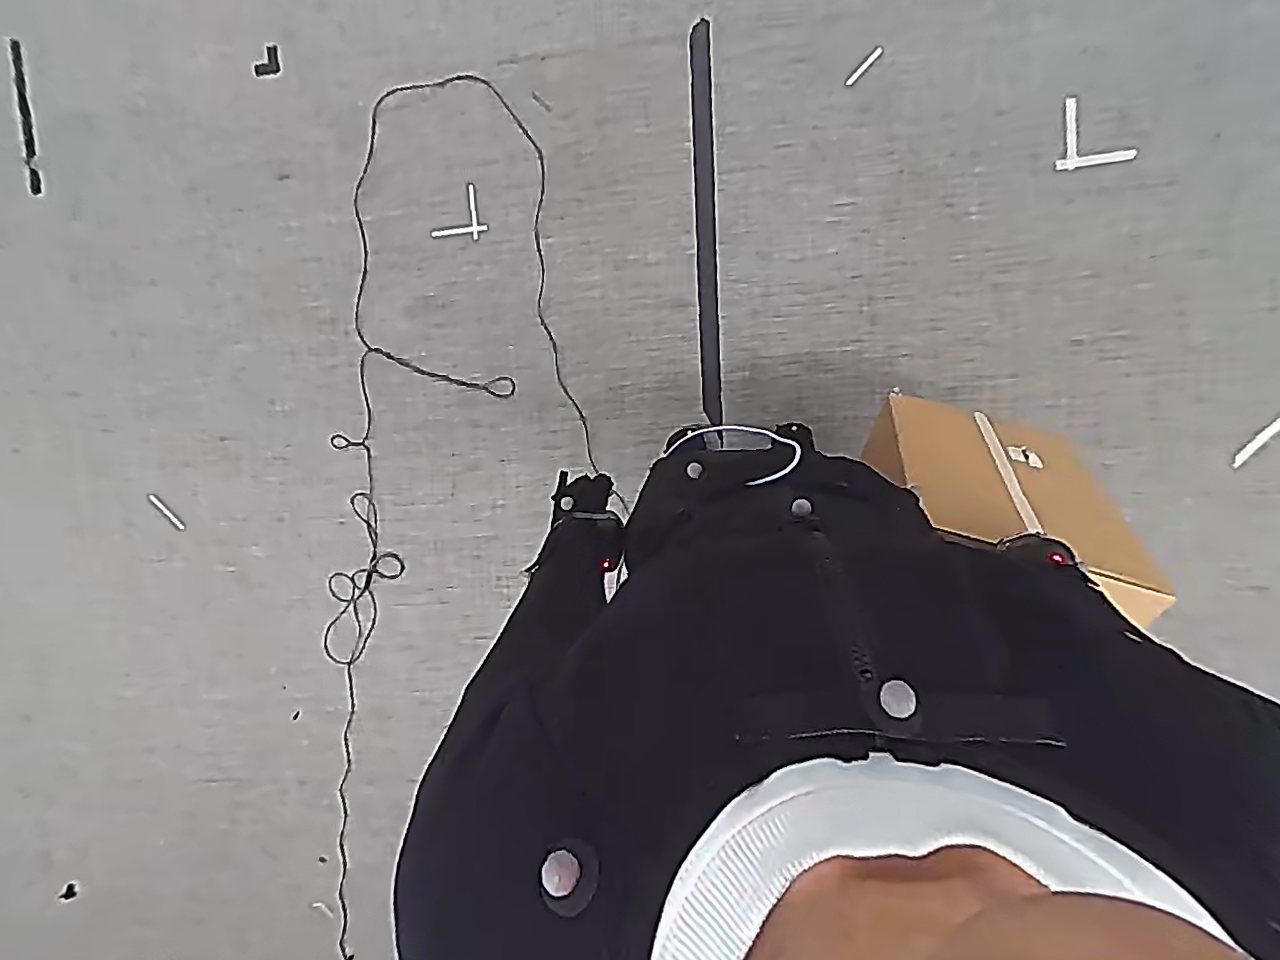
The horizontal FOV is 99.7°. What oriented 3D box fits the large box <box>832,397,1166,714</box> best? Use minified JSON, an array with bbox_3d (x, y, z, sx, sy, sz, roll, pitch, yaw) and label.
[{"bbox_3d":[0.536,0.108,0.928,0.320,0.408,0.320,16,126,8],"label":"large box"}]
